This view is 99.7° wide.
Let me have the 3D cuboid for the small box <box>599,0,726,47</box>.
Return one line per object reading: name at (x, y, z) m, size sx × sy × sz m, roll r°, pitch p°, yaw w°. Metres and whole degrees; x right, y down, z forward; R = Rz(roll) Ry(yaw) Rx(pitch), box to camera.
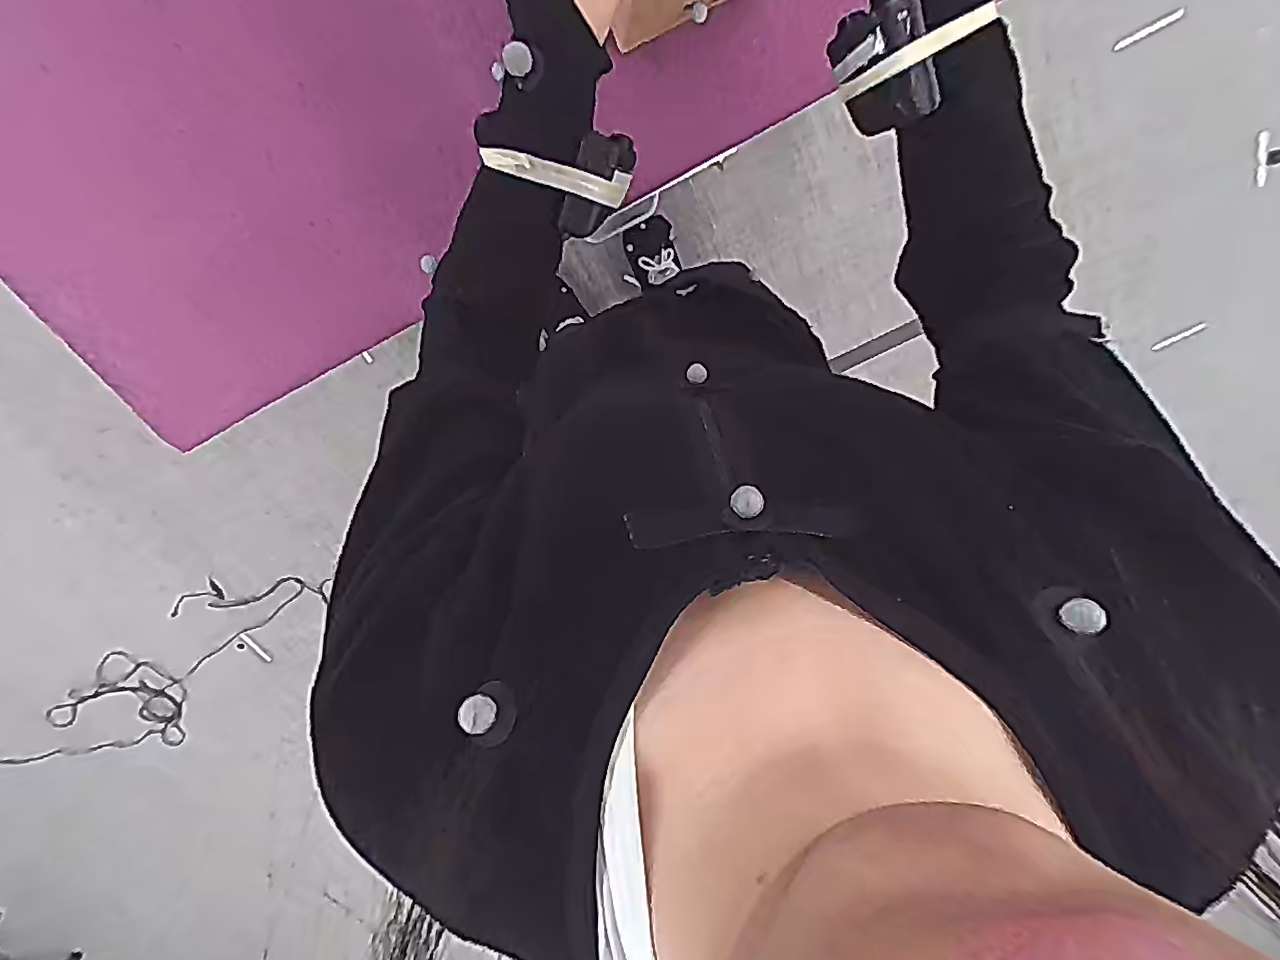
small box at (0.023, -0.521, 0.455) m, size 0.168 × 0.176 × 0.179 m, roll -23°, pitch 115°, yaw 6°
